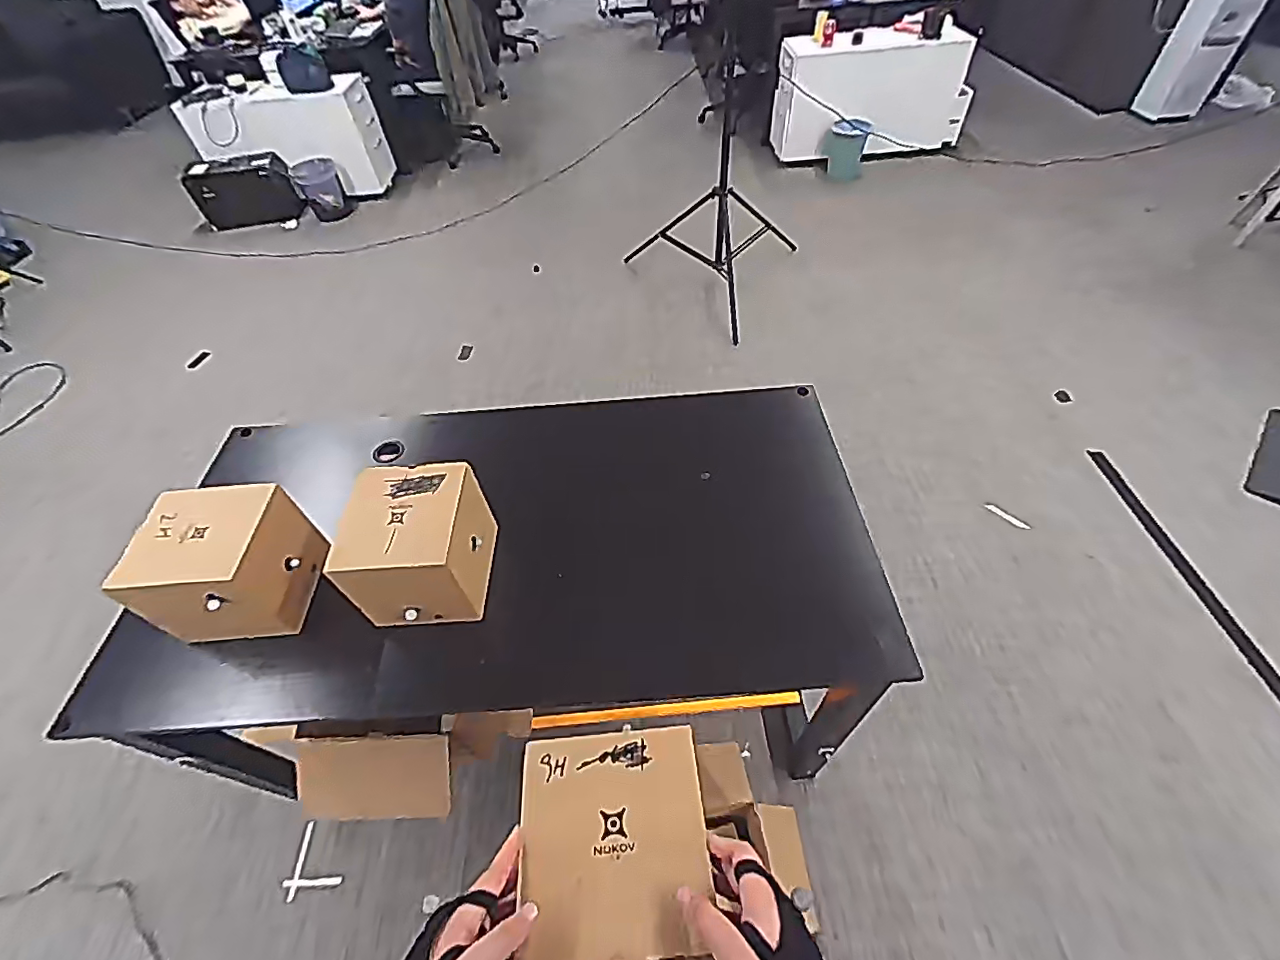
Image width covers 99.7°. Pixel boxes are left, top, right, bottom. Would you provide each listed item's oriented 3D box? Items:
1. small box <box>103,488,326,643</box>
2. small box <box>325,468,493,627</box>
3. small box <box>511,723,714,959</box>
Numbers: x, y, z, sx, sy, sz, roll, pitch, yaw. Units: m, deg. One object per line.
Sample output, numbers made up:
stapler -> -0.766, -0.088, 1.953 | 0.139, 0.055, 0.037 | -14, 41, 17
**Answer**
small box -> -0.613, 0.131, 0.813 | 0.179, 0.176, 0.168 | -5, 50, 0
small box -> -0.329, 0.104, 0.816 | 0.168, 0.176, 0.179 | -4, 51, 1
small box -> -0.022, 0.366, 0.538 | 0.168, 0.176, 0.179 | -5, 46, -2
